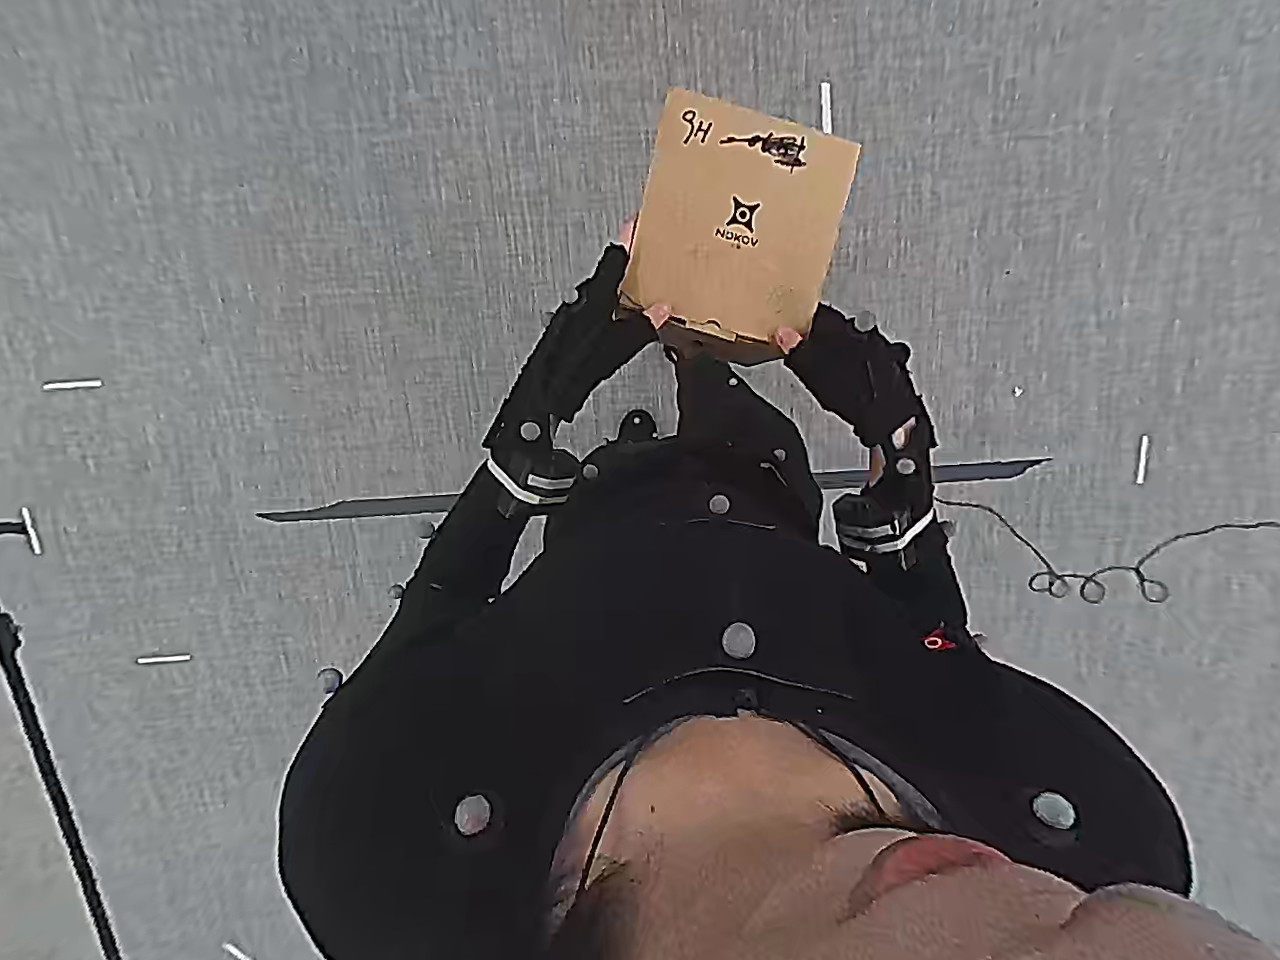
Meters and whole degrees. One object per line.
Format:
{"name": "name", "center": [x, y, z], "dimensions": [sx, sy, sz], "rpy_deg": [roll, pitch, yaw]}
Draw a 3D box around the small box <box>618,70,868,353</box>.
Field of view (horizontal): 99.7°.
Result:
{"name": "small box", "center": [0.079, -0.227, 0.512], "dimensions": [0.168, 0.176, 0.179], "rpy_deg": [13, 98, -6]}
